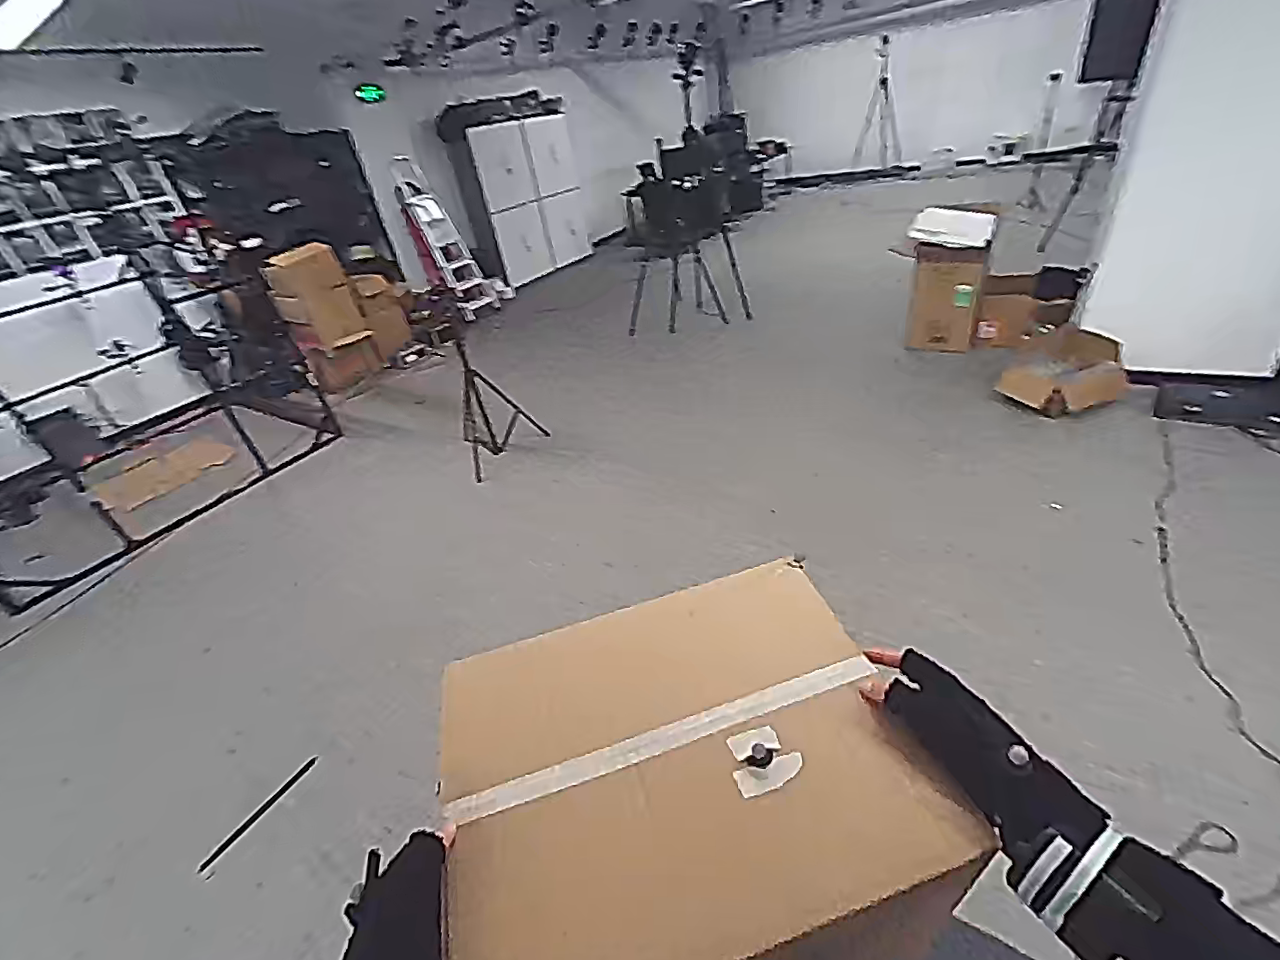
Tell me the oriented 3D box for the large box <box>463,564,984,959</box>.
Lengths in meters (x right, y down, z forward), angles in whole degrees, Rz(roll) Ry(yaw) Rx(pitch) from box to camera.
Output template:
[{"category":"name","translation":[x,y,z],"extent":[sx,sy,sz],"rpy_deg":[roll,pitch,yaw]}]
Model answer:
[{"category":"large box","translation":[0.055,0.354,0.588],"extent":[0.408,0.320,0.320],"rpy_deg":[-15,38,-8]}]
